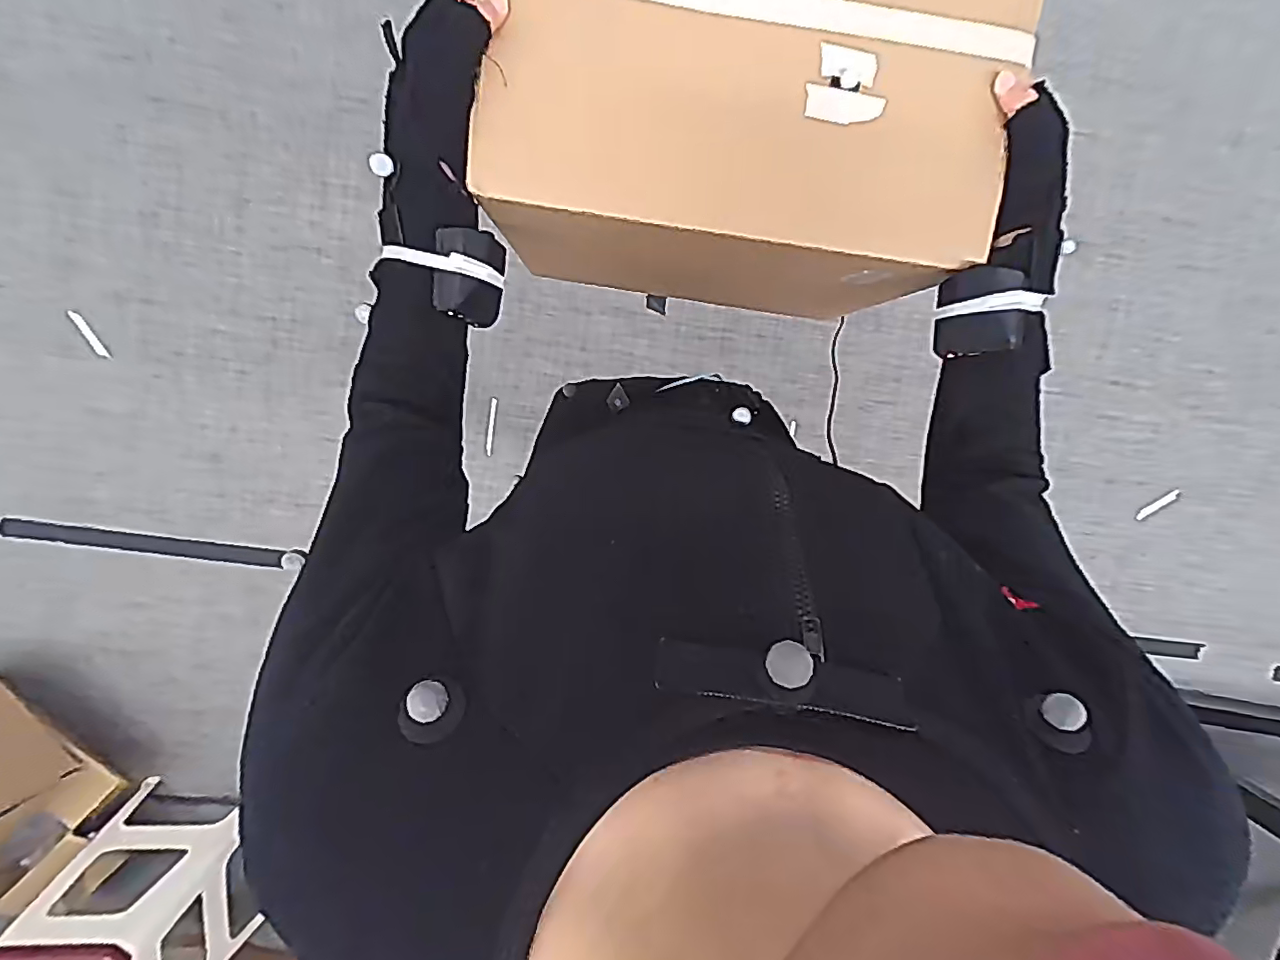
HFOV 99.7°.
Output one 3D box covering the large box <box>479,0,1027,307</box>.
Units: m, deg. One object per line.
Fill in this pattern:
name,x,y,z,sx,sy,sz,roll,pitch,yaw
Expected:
large box,0.080,-0.376,0.545,0.408,0.320,0.320,7,101,-5
